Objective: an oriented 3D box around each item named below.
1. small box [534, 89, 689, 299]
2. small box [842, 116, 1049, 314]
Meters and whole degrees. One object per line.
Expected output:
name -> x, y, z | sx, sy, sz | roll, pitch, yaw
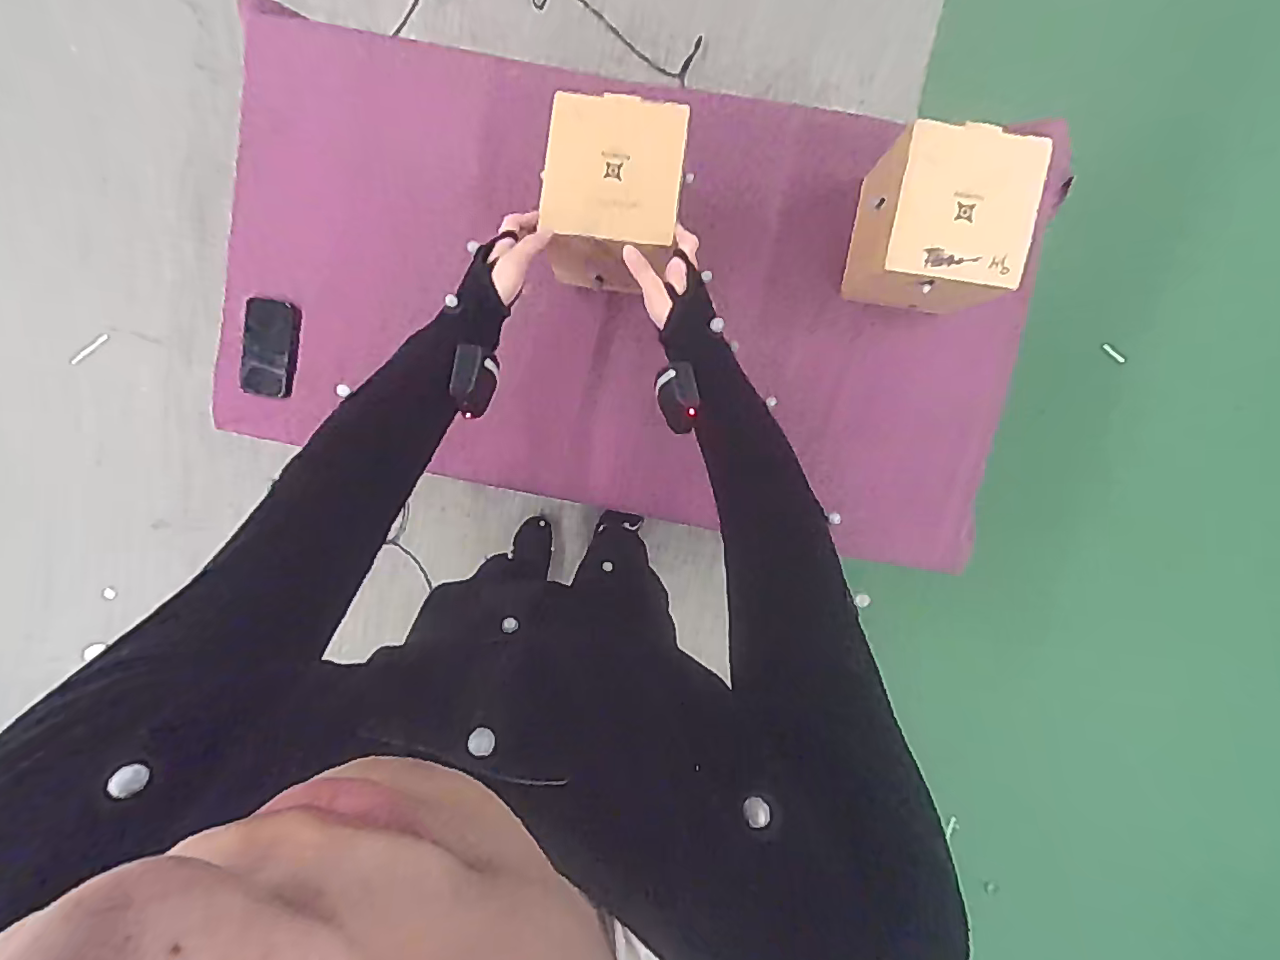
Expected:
small box -> -0.034, -0.365, 0.717 | 0.168, 0.176, 0.179 | 8, 88, 0
small box -> 0.388, -0.337, 0.720 | 0.168, 0.176, 0.179 | 9, 96, 1
